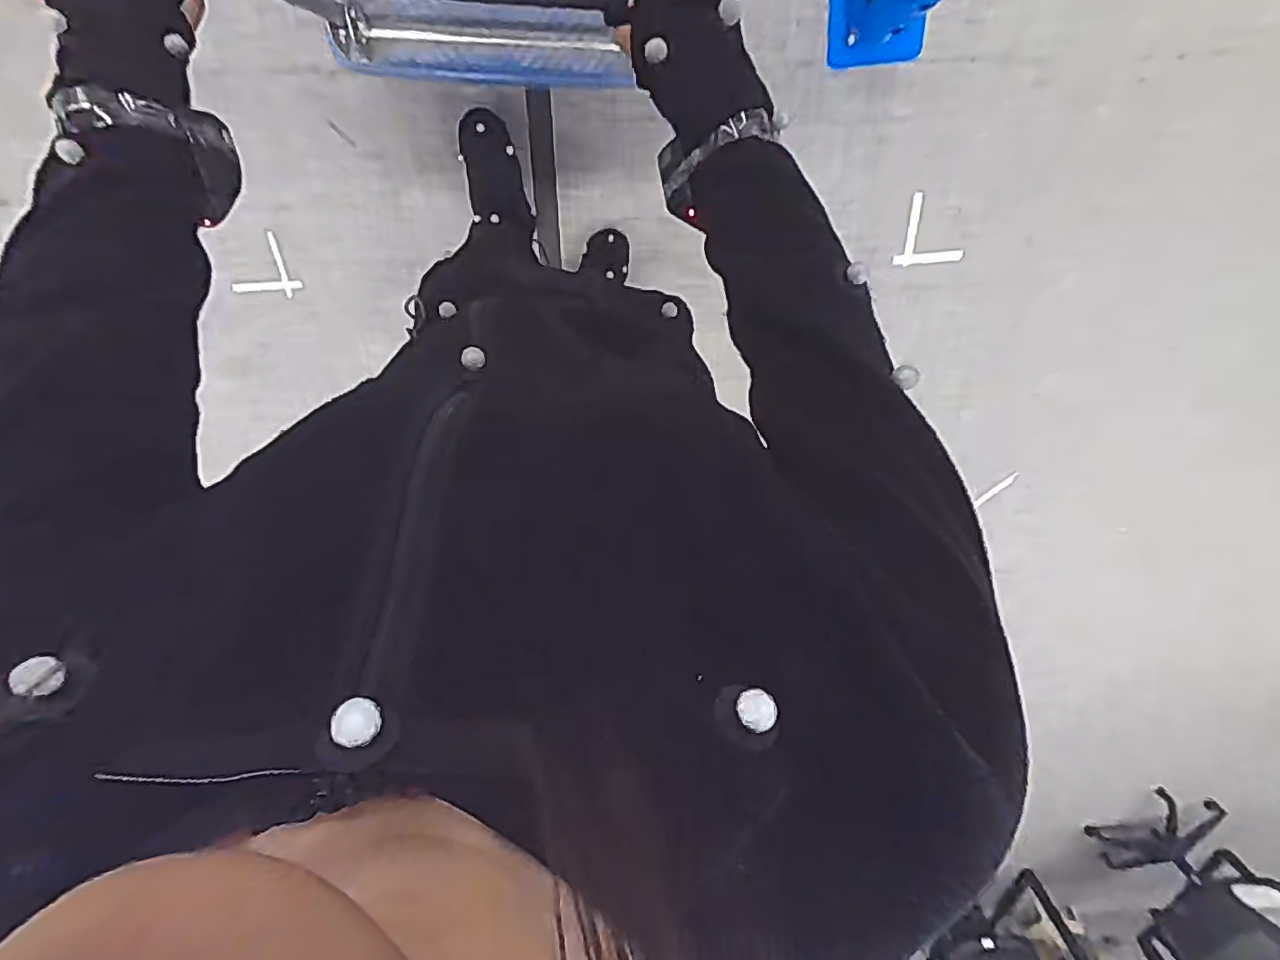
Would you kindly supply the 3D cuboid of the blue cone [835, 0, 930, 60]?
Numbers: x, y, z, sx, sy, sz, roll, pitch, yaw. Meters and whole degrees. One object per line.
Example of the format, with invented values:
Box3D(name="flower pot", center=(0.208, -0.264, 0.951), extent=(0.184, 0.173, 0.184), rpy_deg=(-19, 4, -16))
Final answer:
Box3D(name="blue cone", center=(0.490, -0.868, 0.915), extent=(0.193, 0.380, 0.192), rpy_deg=(-7, 119, -2))
